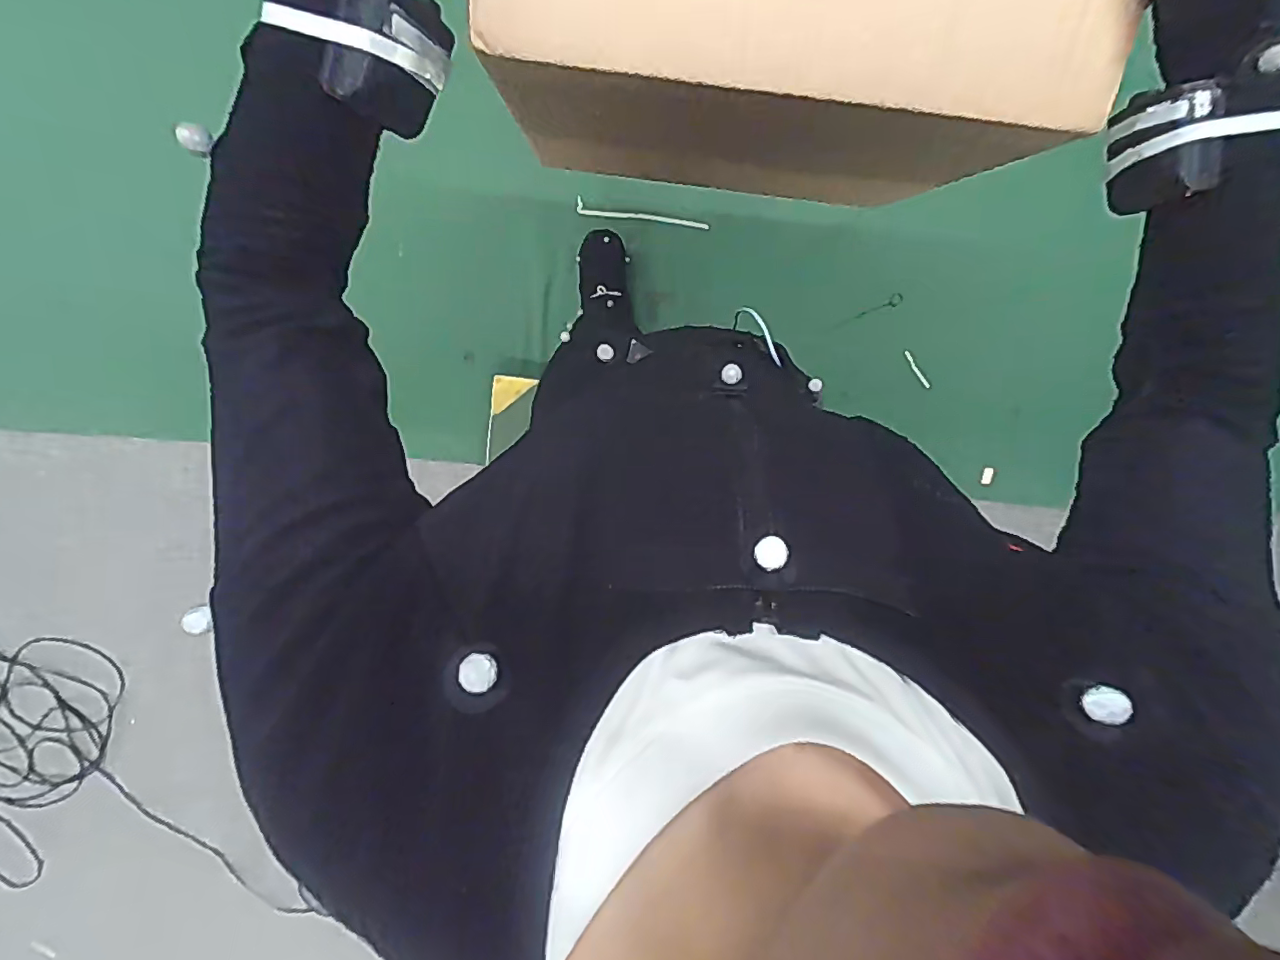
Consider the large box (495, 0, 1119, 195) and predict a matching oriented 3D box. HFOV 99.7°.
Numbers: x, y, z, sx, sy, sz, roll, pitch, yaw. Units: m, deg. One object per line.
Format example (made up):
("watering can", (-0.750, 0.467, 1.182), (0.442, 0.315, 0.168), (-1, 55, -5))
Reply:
("large box", (0.106, -0.447, 0.445), (0.408, 0.320, 0.320), (4, 109, -5))
